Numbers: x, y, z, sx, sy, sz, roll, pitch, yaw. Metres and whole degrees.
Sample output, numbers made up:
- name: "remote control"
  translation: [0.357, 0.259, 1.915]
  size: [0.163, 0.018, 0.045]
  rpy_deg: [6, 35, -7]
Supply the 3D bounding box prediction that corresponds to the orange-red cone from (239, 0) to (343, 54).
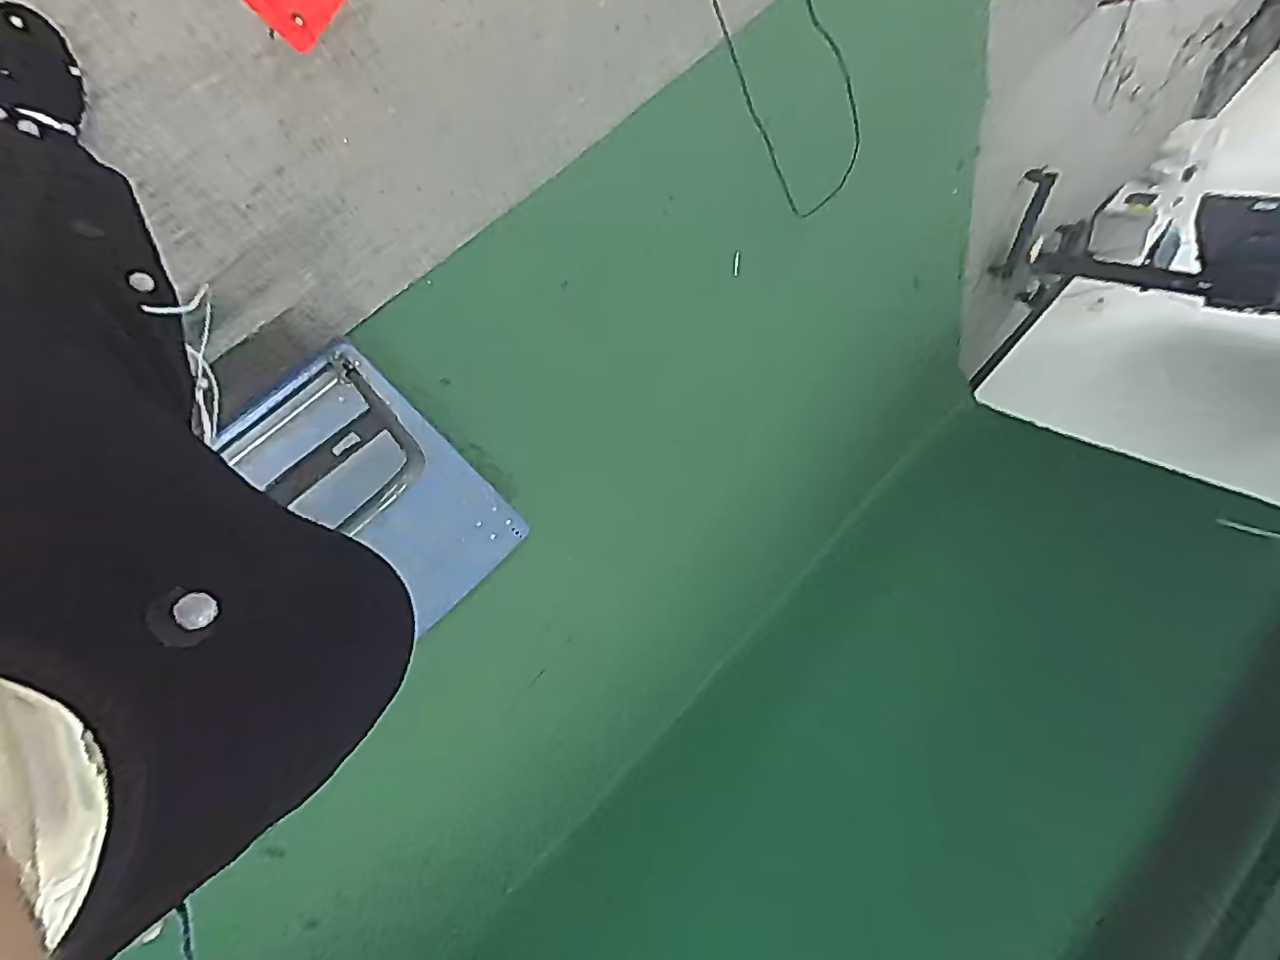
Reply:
- name: "orange-red cone"
  translation: [-0.609, -0.928, 0.954]
  size: [0.199, 0.360, 0.198]
  rpy_deg: [-55, 139, -2]
